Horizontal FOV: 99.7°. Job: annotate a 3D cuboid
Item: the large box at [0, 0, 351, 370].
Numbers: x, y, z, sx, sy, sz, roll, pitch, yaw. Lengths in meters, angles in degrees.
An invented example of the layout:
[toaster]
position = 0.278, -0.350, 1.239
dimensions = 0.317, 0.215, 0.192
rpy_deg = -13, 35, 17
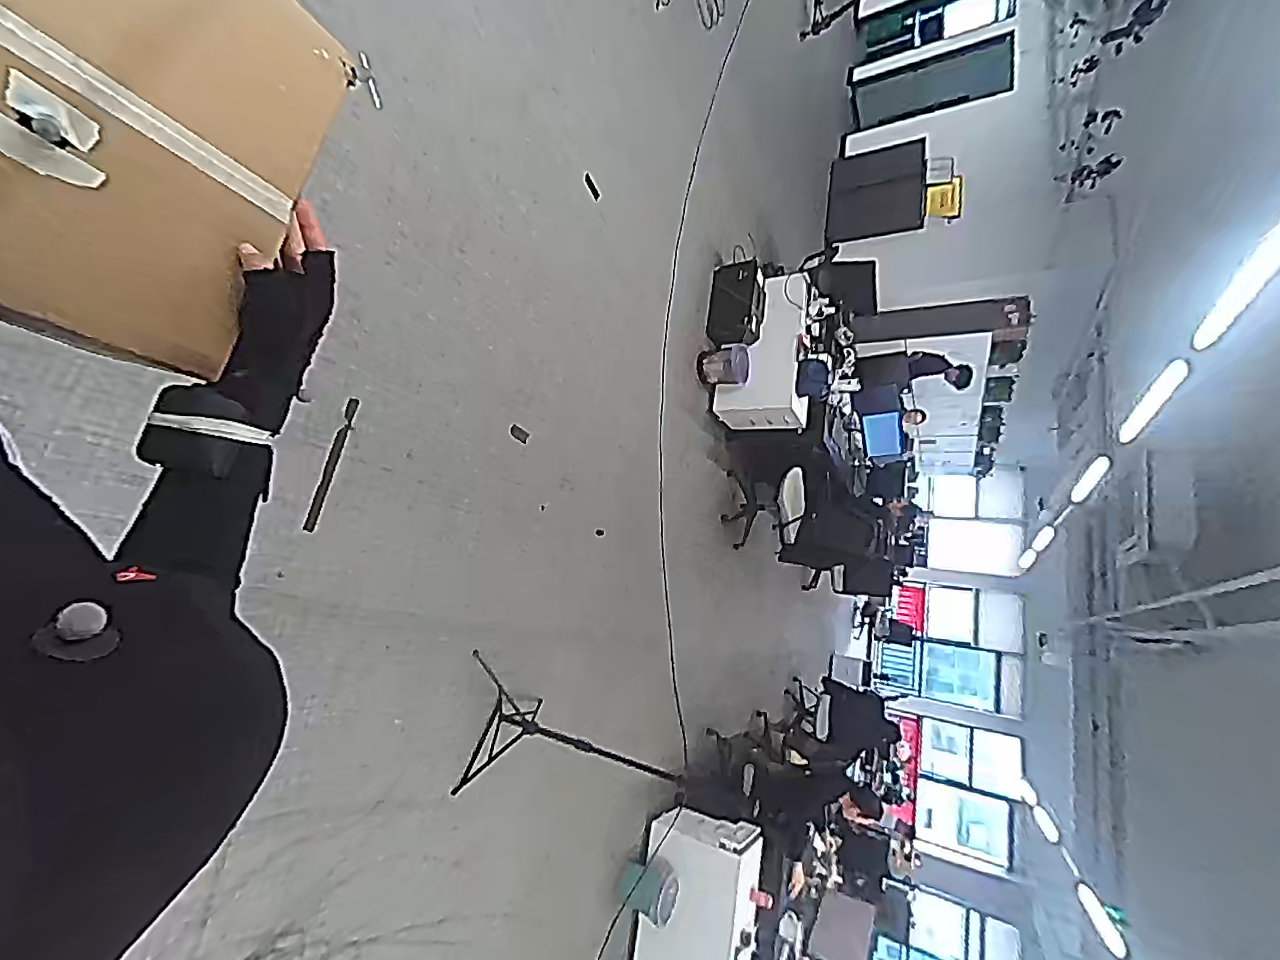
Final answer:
[large box]
position = -0.526, -0.313, 0.389
dimensions = 0.408, 0.320, 0.320
rpy_deg = 29, 78, -56
